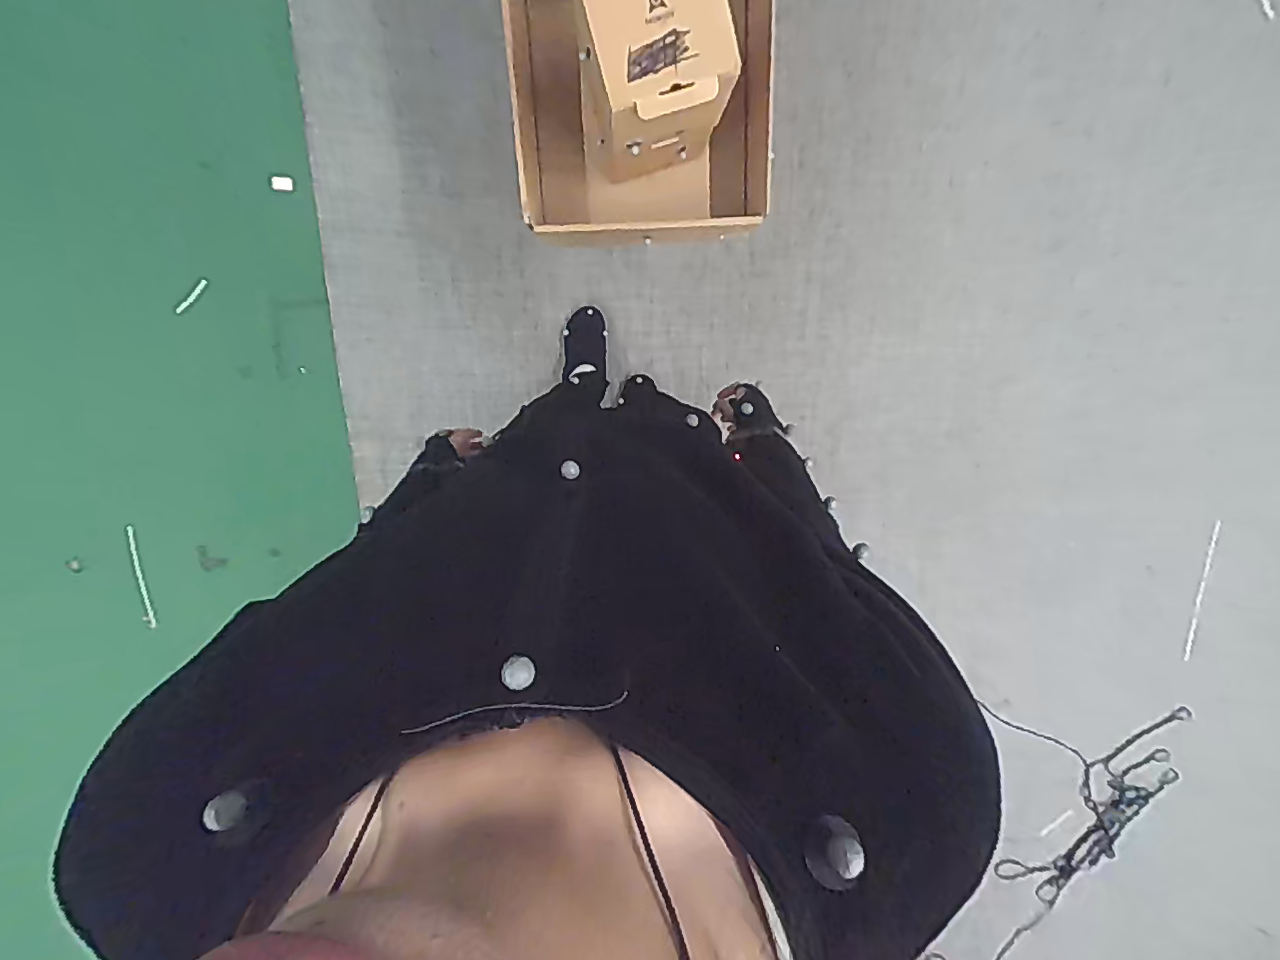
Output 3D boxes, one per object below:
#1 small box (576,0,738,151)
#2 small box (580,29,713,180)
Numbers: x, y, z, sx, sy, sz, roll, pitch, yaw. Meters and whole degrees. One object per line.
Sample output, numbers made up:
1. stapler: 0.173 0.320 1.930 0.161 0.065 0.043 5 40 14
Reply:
1. small box: 0.018 -0.562 0.709 0.168 0.176 0.179 -16 103 1
2. small box: 0.011 -0.605 0.867 0.168 0.176 0.179 -15 104 2
